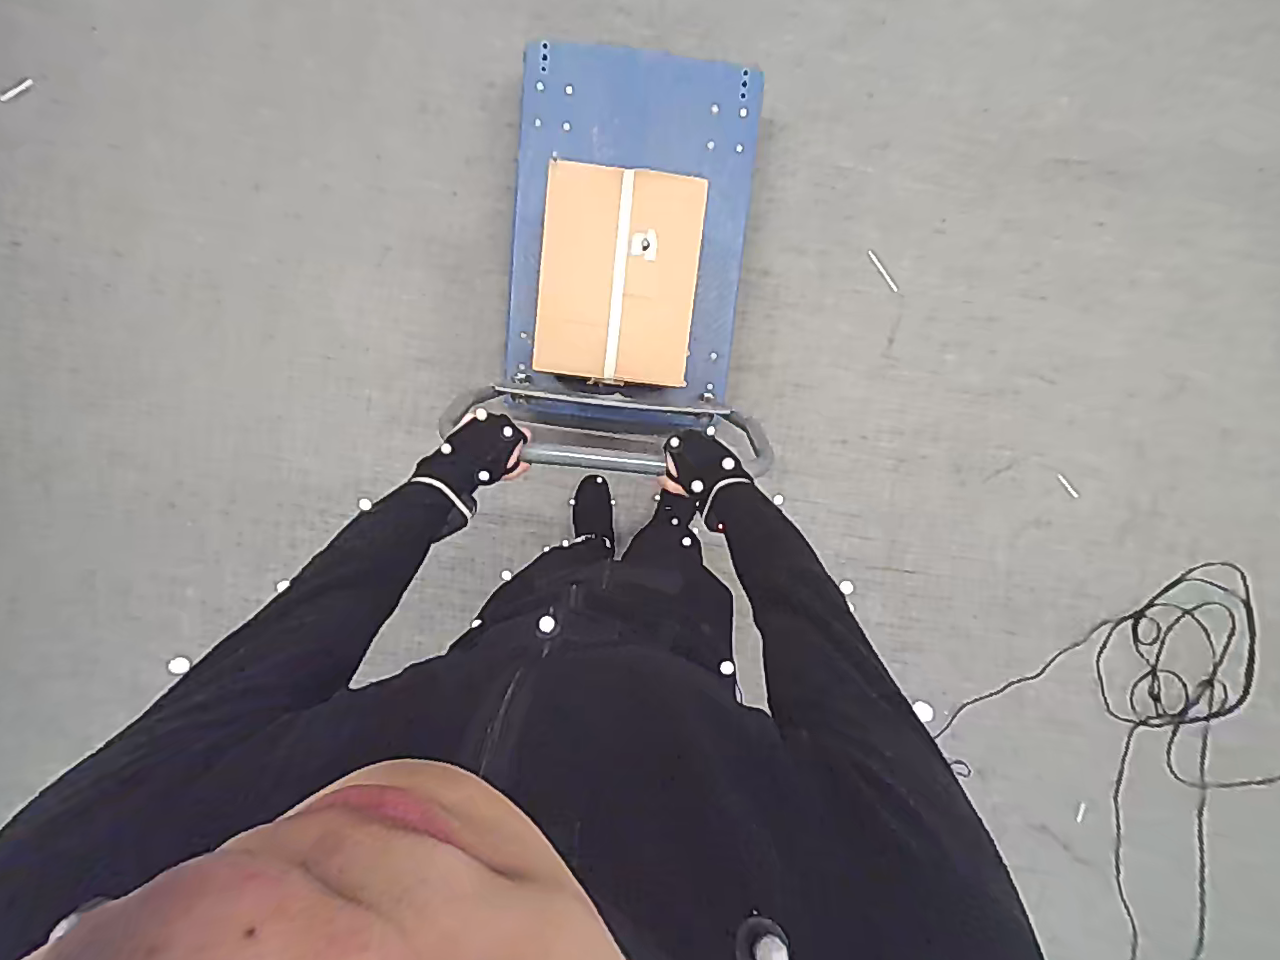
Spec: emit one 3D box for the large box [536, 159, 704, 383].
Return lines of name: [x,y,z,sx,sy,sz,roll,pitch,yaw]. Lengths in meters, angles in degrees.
large box: [-0.046,-0.437,1.231,0.320,0.320,0.408,6,99,-3]
